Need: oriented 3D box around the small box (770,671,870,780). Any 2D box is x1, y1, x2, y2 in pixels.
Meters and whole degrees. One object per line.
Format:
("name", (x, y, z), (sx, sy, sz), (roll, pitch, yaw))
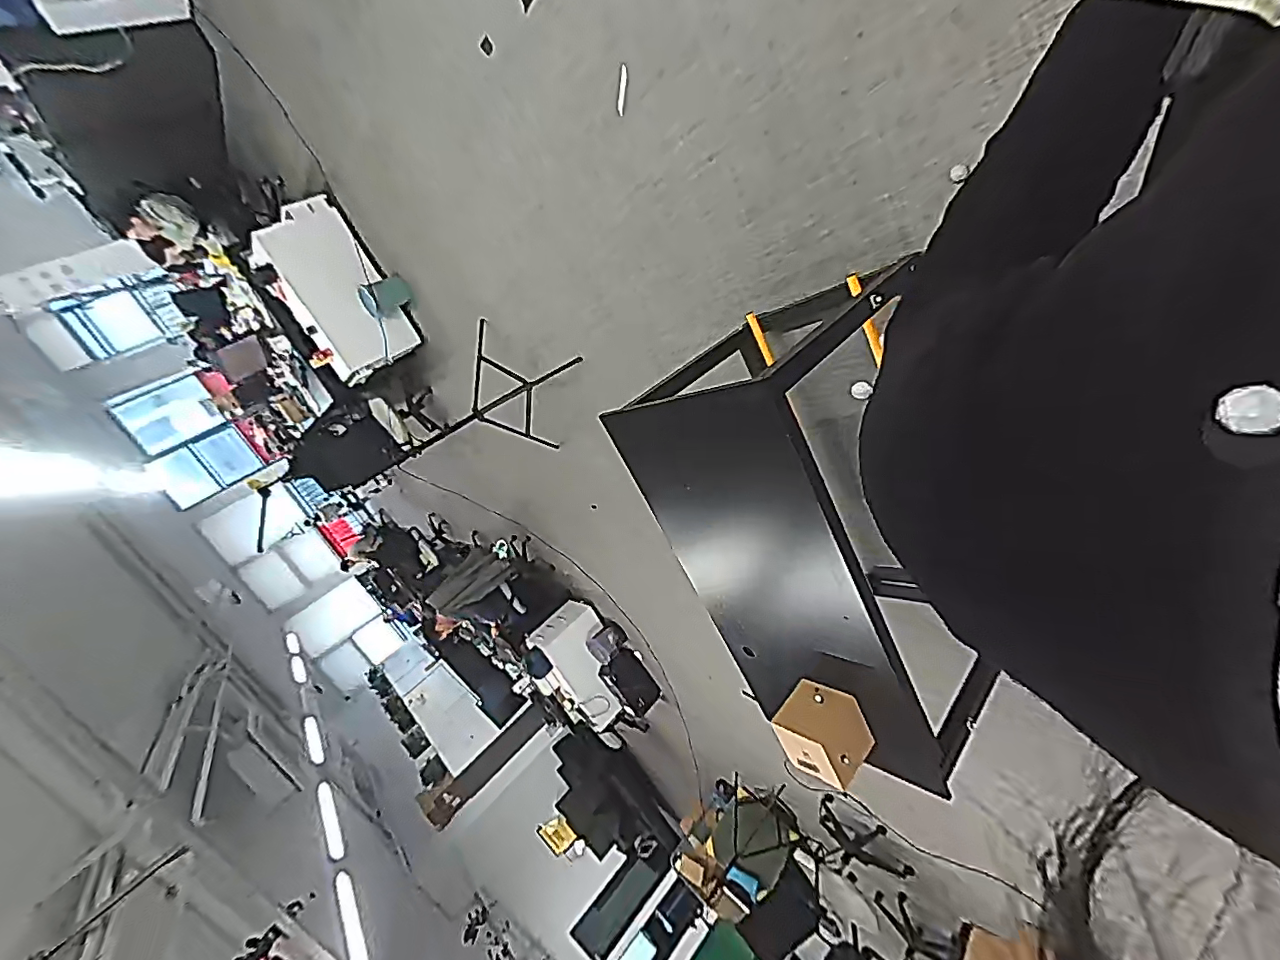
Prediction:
("small box", (0.492, 0.657, 1.465), (0.168, 0.176, 0.179), (0, 123, 54))
